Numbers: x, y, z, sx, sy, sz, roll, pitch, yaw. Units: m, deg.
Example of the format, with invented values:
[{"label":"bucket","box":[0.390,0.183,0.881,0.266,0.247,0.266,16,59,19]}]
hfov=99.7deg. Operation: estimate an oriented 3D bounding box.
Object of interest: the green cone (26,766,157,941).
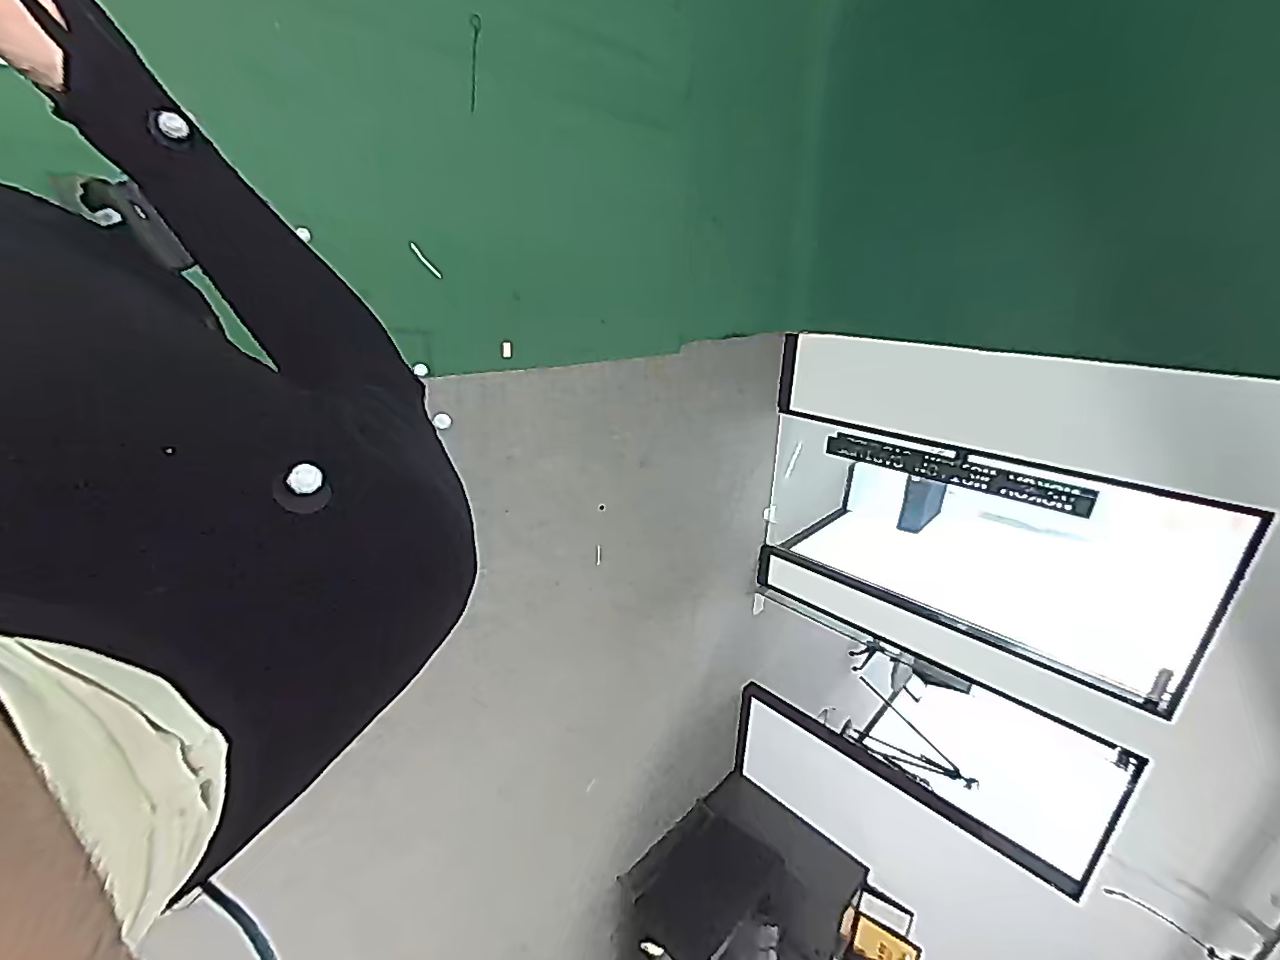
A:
[{"label":"green cone","box":[-1.229,0.874,1.225,0.202,0.368,0.200,-17,117,-41]}]
